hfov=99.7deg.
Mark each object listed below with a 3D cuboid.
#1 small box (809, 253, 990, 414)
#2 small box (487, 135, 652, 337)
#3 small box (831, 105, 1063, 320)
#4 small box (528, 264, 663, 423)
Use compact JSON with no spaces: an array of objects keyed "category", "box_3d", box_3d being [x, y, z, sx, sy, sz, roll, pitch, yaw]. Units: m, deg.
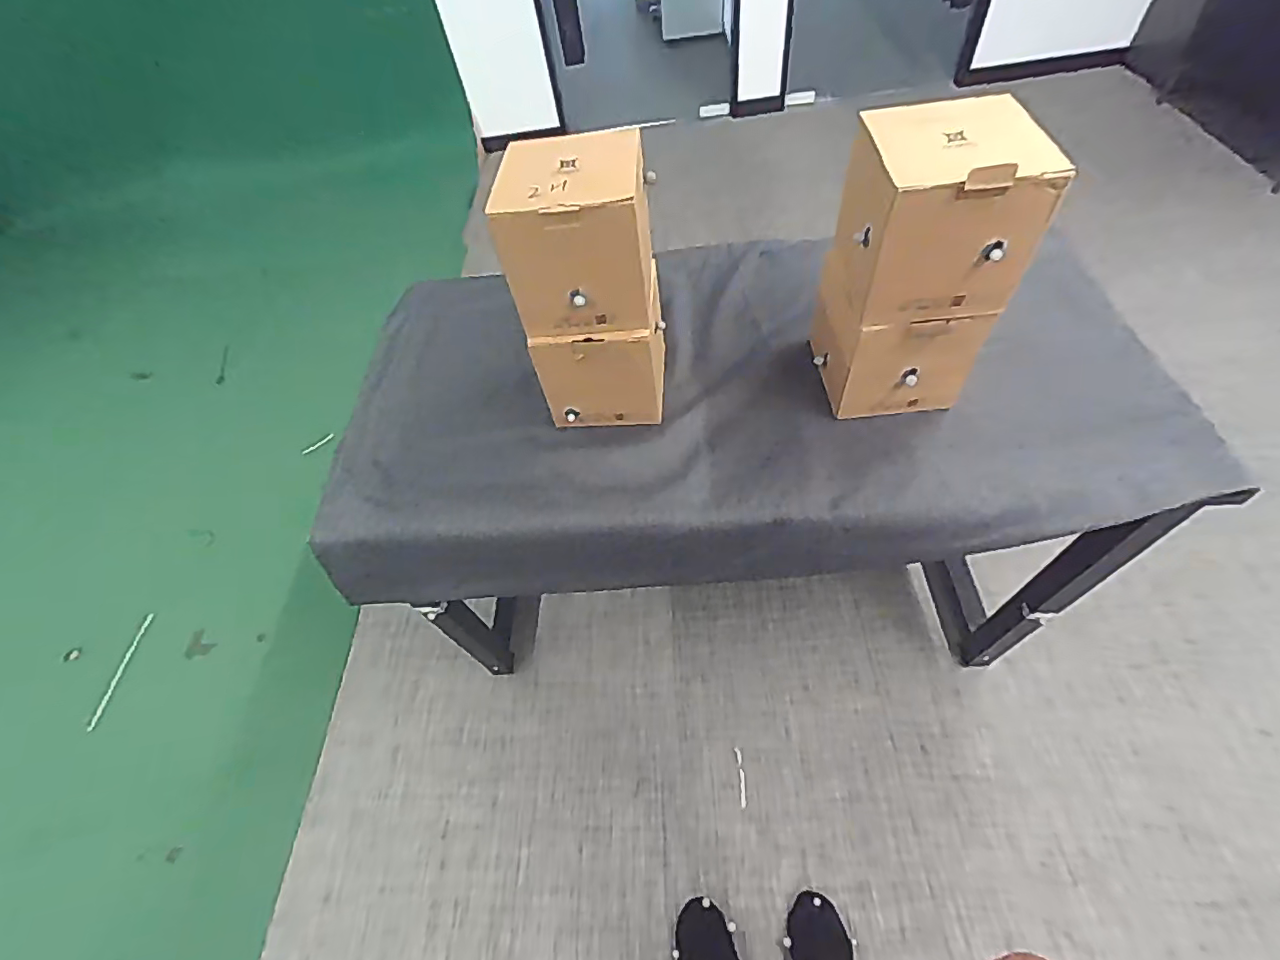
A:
[{"category":"small box","box_3d":[0.348,-0.208,0.766,0.168,0.176,0.179,-6,55,4]},{"category":"small box","box_3d":[-0.075,-0.307,0.691,0.168,0.176,0.179,-3,54,6]},{"category":"small box","box_3d":[0.334,-0.303,0.634,0.168,0.176,0.179,-3,53,5]},{"category":"small box","box_3d":[-0.054,-0.198,0.815,0.168,0.176,0.179,-1,54,7]}]
